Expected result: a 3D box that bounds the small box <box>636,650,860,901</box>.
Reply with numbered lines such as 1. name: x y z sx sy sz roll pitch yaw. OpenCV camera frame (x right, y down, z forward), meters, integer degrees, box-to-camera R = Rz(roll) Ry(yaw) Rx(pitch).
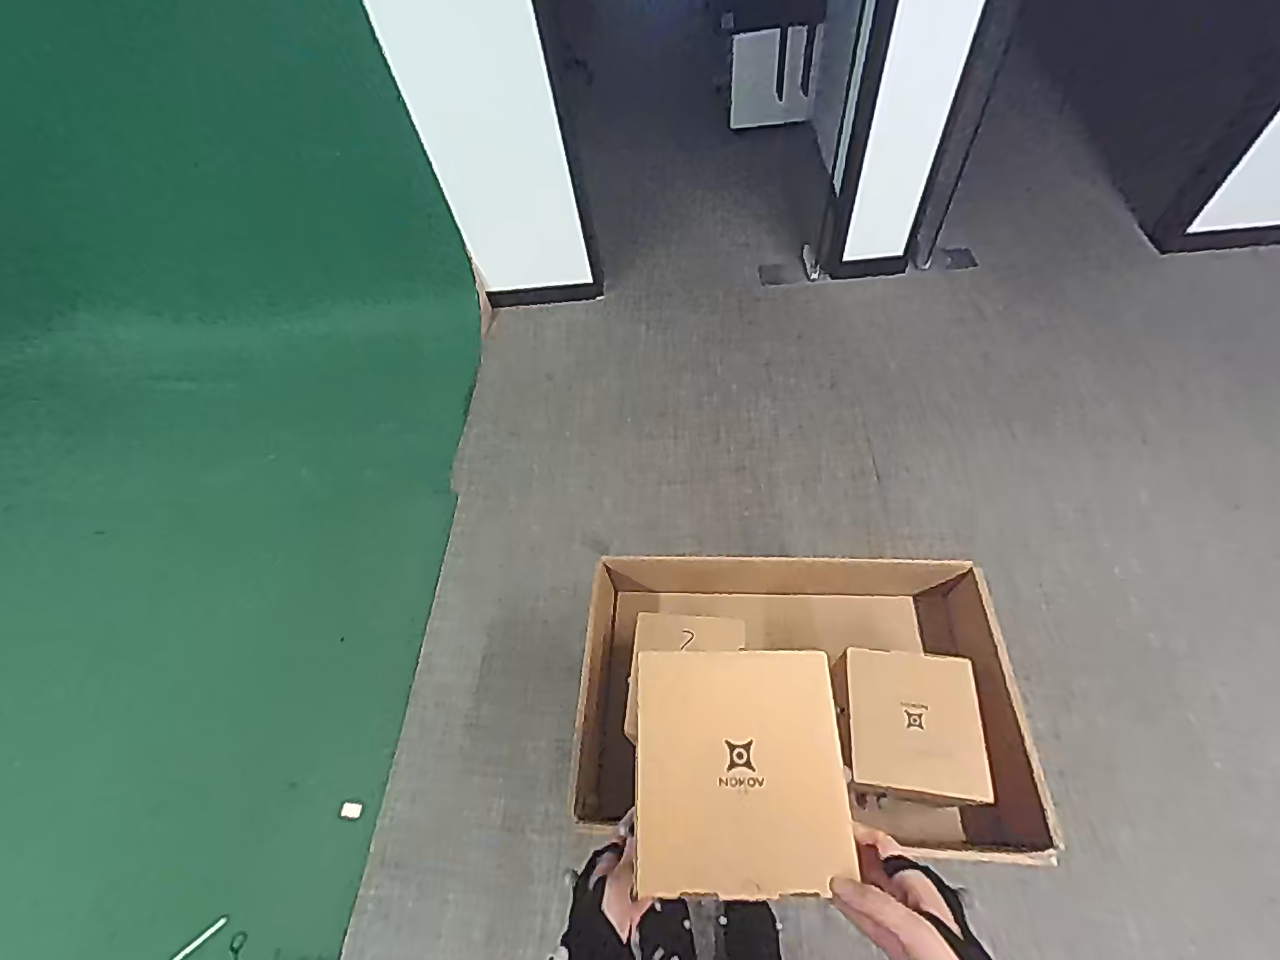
1. small box: 0.081 0.266 0.503 0.168 0.176 0.179 0 61 1
